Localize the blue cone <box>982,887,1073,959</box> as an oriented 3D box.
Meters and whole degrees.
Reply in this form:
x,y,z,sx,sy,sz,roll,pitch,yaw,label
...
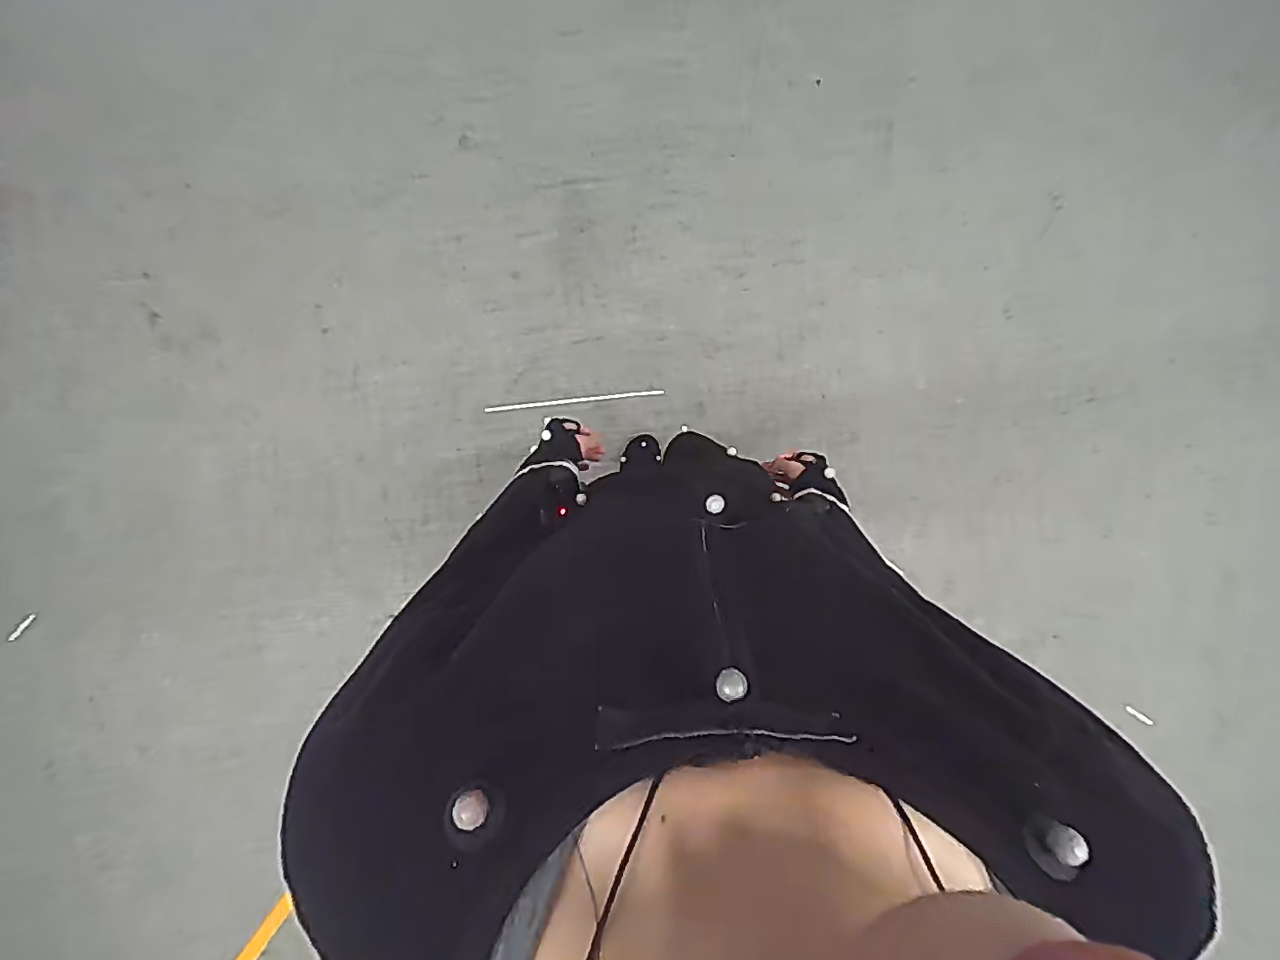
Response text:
x,y,z,sx,sy,sz,roll,pitch,yaw,label
1.107,1.296,1.403,0.192,0.380,0.193,38,89,-2,blue cone
